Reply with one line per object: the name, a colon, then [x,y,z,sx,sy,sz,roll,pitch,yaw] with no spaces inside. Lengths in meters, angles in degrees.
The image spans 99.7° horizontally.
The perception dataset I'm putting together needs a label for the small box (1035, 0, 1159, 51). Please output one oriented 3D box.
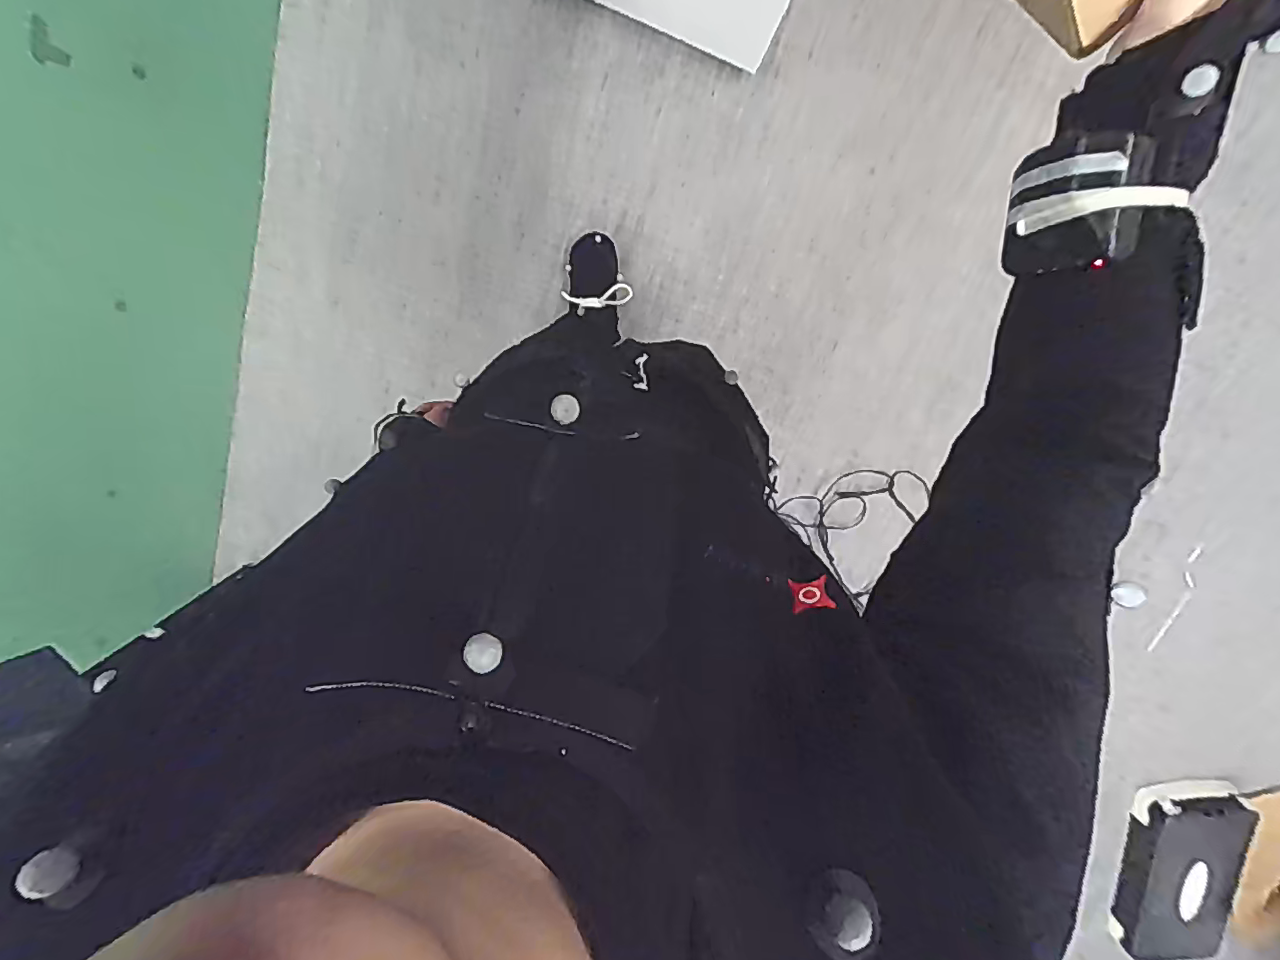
small box: [0.220,-0.351,0.221,0.179,0.176,0.168,12,143,-43]
